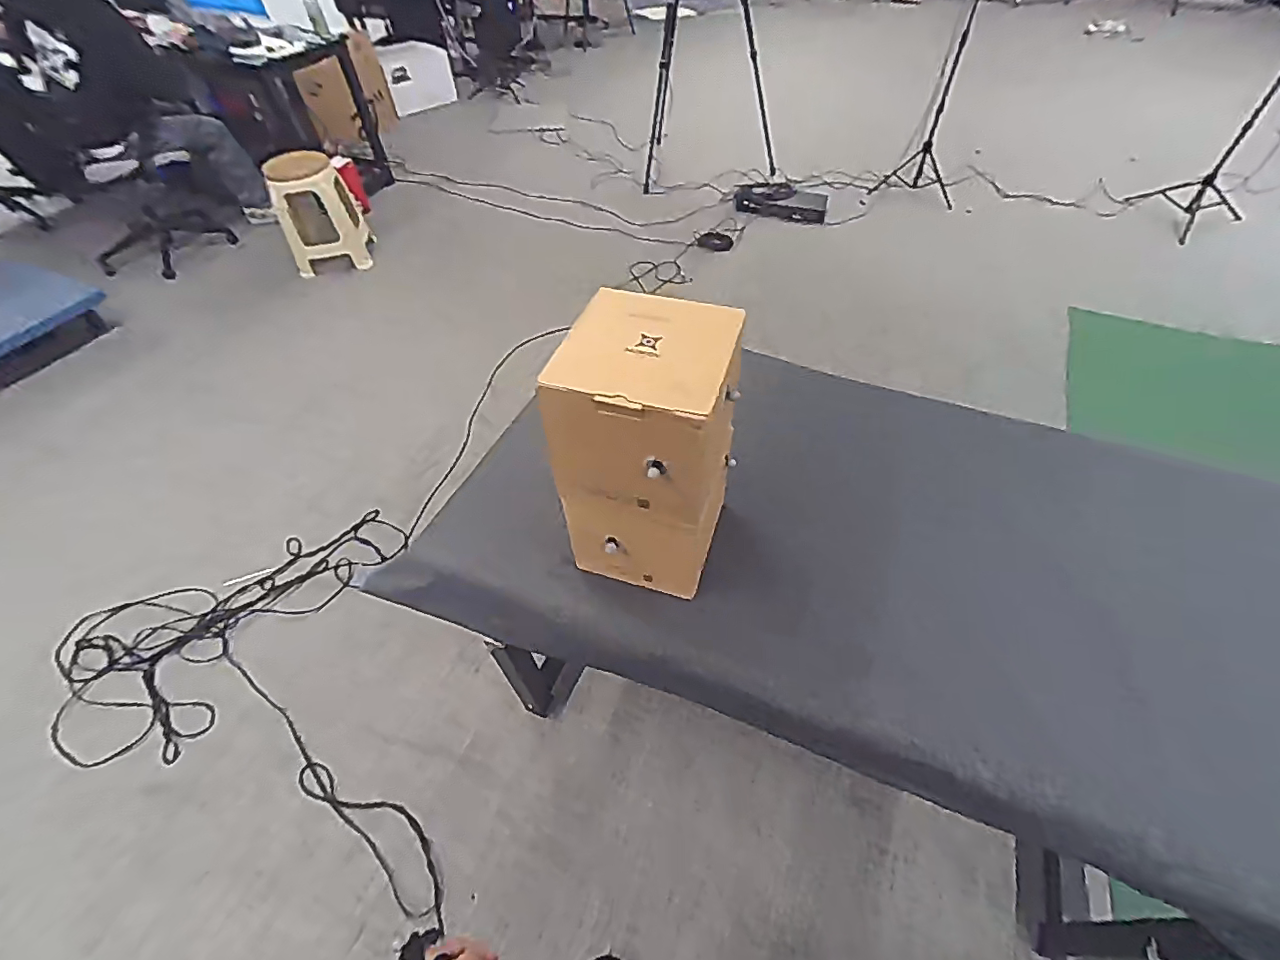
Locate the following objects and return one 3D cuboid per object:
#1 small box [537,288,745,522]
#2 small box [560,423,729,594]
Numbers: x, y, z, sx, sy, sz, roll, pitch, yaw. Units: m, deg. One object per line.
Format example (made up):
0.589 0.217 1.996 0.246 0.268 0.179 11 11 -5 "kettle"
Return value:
0.008 -0.080 0.589 0.168 0.176 0.179 14 50 11 "small box"
0.013 0.024 0.714 0.168 0.176 0.179 14 51 13 "small box"
